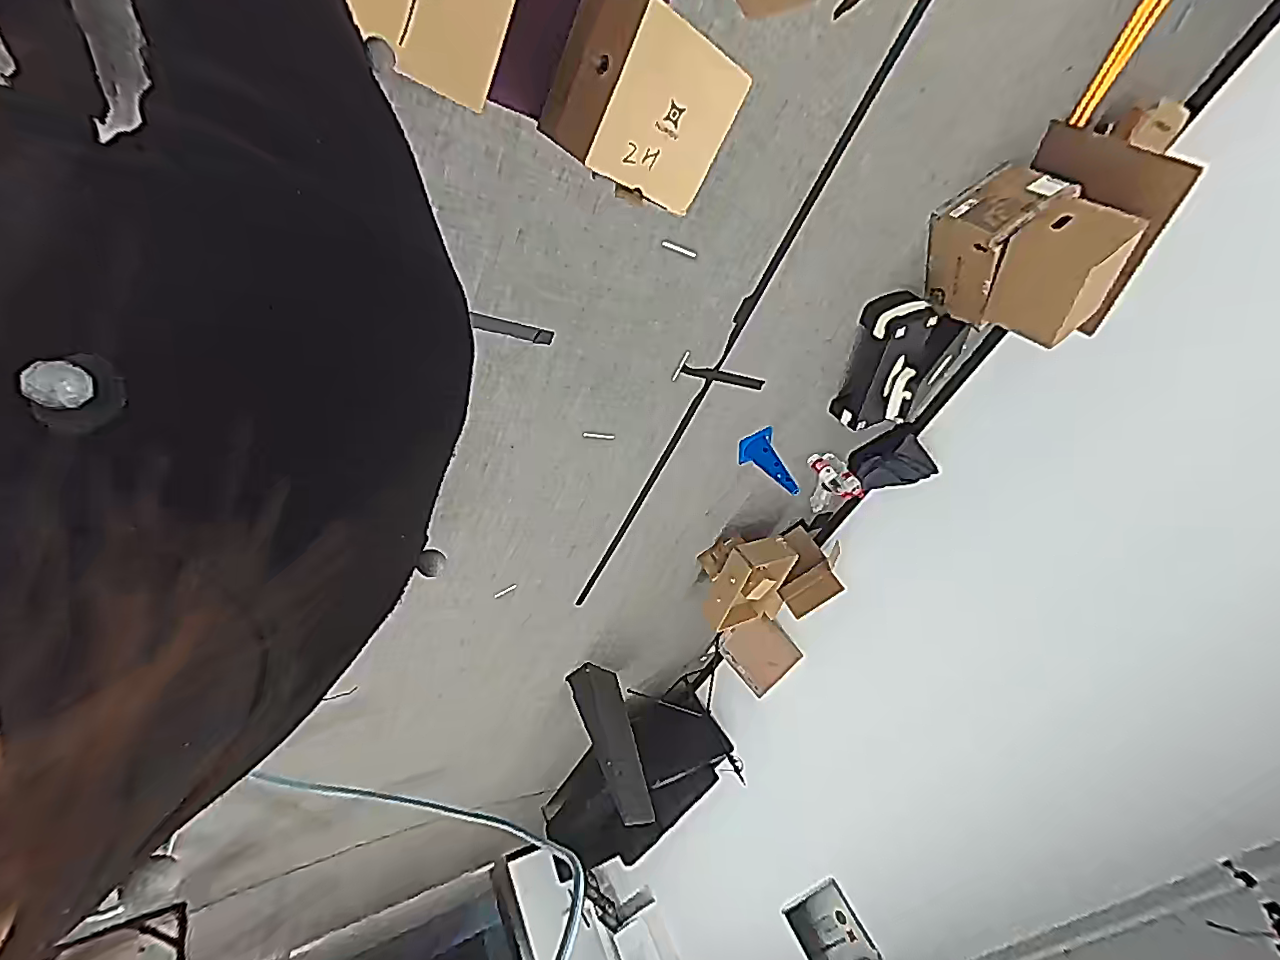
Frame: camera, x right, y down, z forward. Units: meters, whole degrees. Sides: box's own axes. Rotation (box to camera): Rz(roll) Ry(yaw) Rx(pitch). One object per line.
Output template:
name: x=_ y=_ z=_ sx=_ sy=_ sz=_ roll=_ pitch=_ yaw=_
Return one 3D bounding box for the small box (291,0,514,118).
small box: x=-0.224 y=-0.491 z=0.507 sx=0.168 sy=0.176 sz=0.179 roll=4 pitch=129 yaw=-40

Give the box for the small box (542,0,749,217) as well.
small box: x=-0.004 y=-0.477 z=0.687 sx=0.168 sy=0.176 sz=0.179 roll=5 pitch=127 yaw=-40
